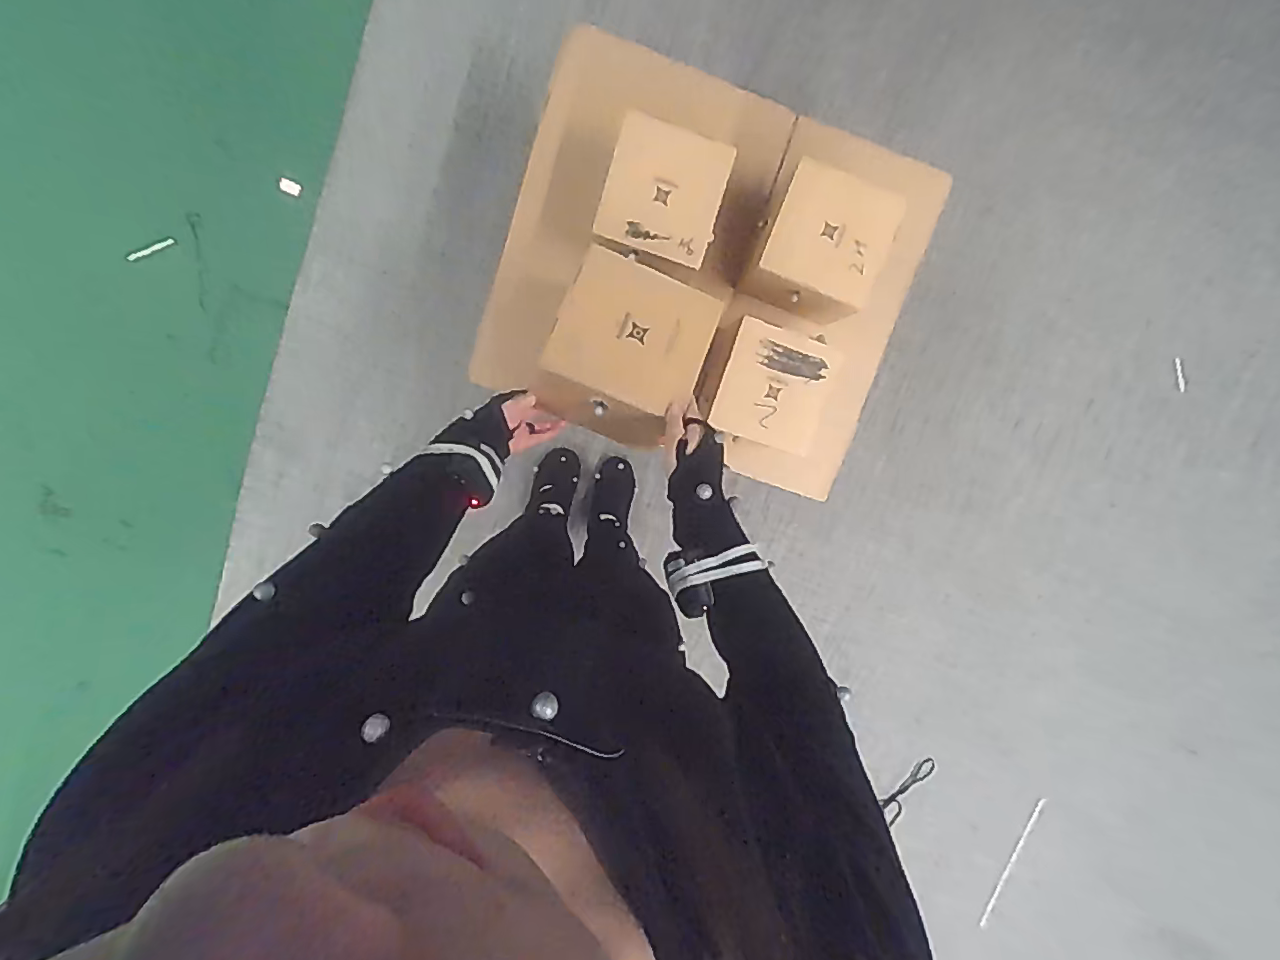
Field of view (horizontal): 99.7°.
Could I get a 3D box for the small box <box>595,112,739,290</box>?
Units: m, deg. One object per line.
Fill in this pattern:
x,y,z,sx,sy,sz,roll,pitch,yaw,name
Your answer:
0.035,-0.415,0.841,0.168,0.176,0.179,18,97,-3,small box

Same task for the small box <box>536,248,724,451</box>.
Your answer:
-0.021,-0.152,0.694,0.179,0.176,0.168,23,77,-6,small box
